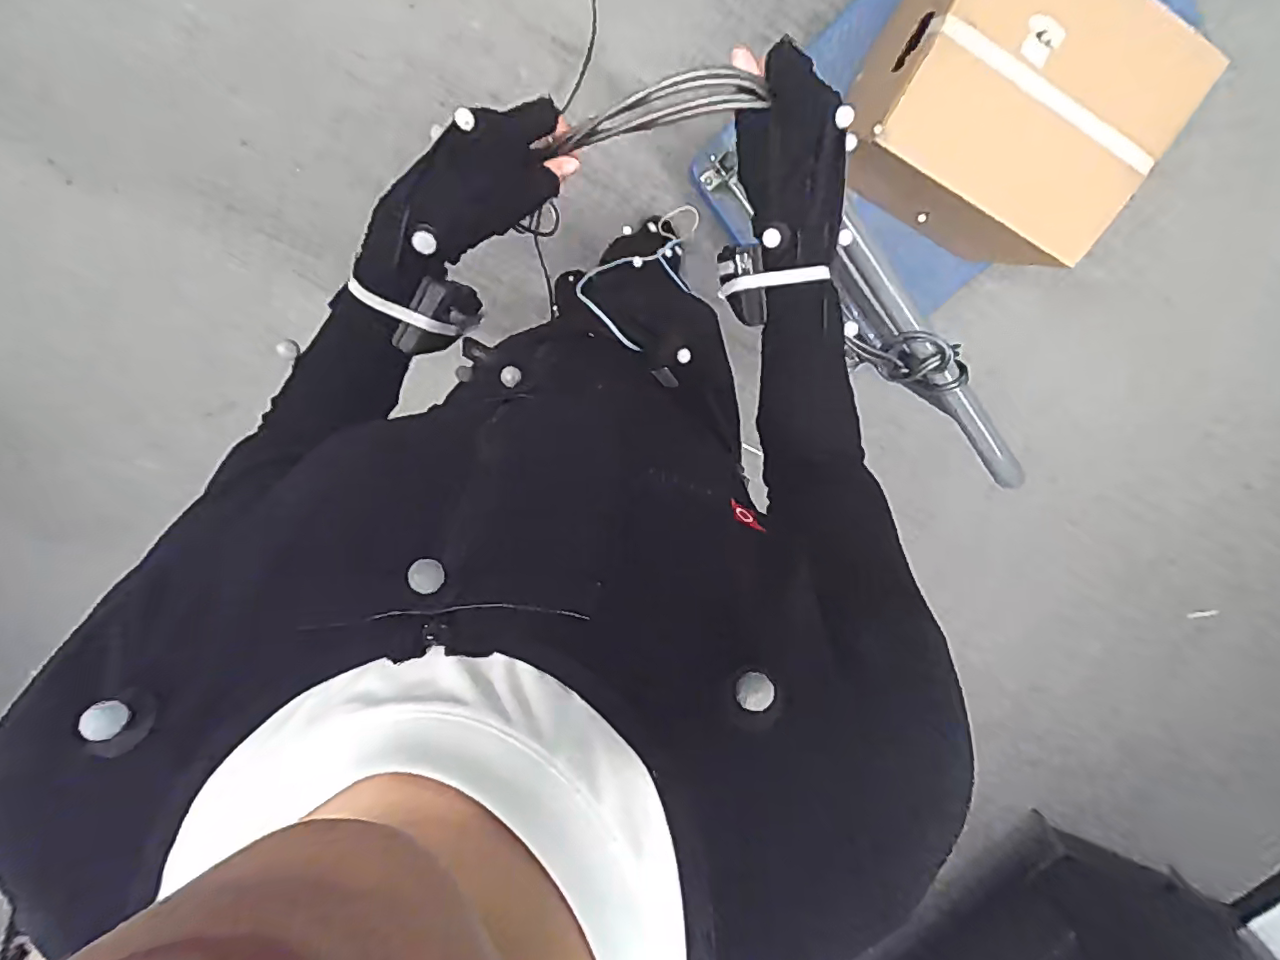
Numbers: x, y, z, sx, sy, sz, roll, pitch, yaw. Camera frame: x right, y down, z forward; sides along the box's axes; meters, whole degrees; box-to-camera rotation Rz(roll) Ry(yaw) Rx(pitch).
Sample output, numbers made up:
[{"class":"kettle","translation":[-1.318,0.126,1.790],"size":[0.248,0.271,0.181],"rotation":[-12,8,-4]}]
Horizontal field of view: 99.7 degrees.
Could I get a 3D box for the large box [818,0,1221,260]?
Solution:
[{"class":"large box","translation":[0.597,-0.623,0.934],"size":[0.408,0.320,0.320],"rotation":[24,111,-11]}]
